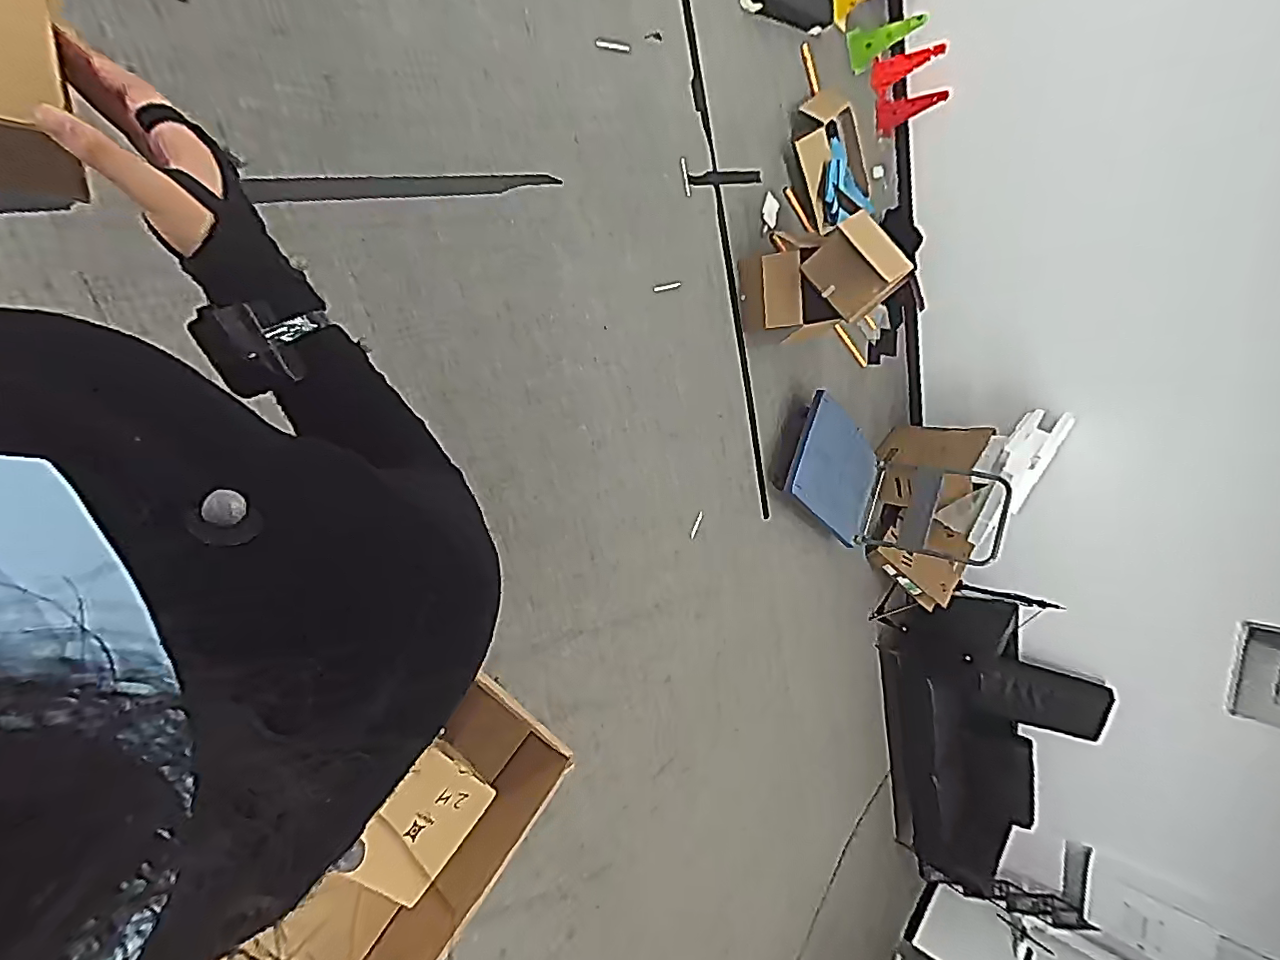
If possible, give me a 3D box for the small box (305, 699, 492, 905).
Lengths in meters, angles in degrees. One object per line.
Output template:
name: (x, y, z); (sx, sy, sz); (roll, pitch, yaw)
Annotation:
small box: (-0.366, 0.469, 0.810); (0.179, 0.176, 0.168); (-49, 125, -27)
